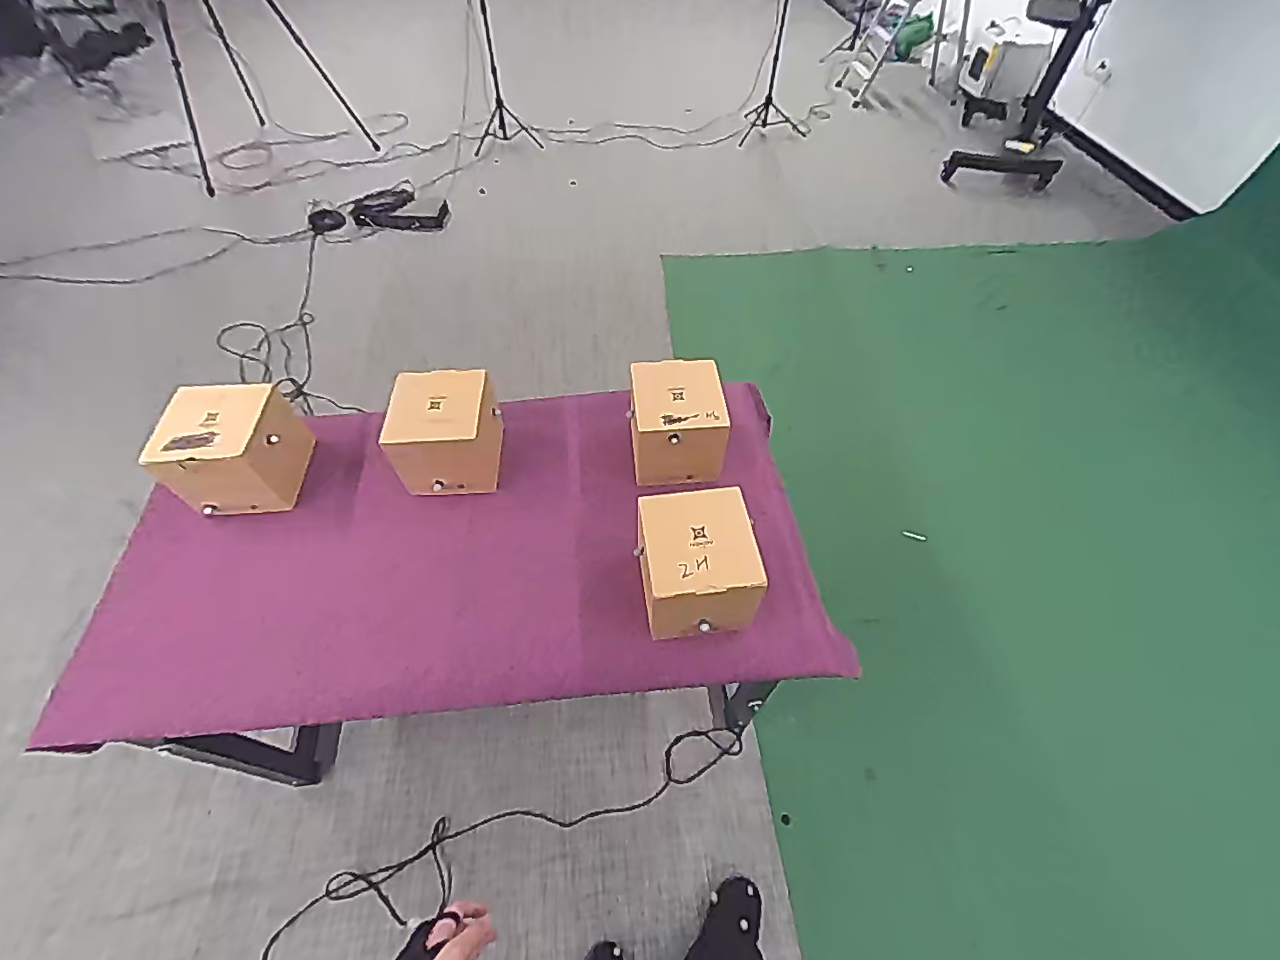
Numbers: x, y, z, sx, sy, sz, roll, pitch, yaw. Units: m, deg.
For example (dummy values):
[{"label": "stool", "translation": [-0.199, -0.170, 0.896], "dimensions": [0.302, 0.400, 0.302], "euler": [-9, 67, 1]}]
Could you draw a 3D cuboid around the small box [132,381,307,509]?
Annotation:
[{"label": "small box", "translation": [-0.740, -0.057, 0.979], "dimensions": [0.168, 0.176, 0.179], "euler": [-3, 55, -5]}]

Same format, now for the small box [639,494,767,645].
[{"label": "small box", "translation": [0.089, 0.144, 0.865], "dimensions": [0.168, 0.176, 0.179], "euler": [-5, 55, -4]}]

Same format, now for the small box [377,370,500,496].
[{"label": "small box", "translation": [-0.365, -0.086, 1.018], "dimensions": [0.168, 0.176, 0.179], "euler": [-2, 56, -3]}]

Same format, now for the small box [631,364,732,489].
[{"label": "small box", "translation": [0.070, -0.103, 1.044], "dimensions": [0.168, 0.176, 0.179], "euler": [-3, 55, -3]}]
